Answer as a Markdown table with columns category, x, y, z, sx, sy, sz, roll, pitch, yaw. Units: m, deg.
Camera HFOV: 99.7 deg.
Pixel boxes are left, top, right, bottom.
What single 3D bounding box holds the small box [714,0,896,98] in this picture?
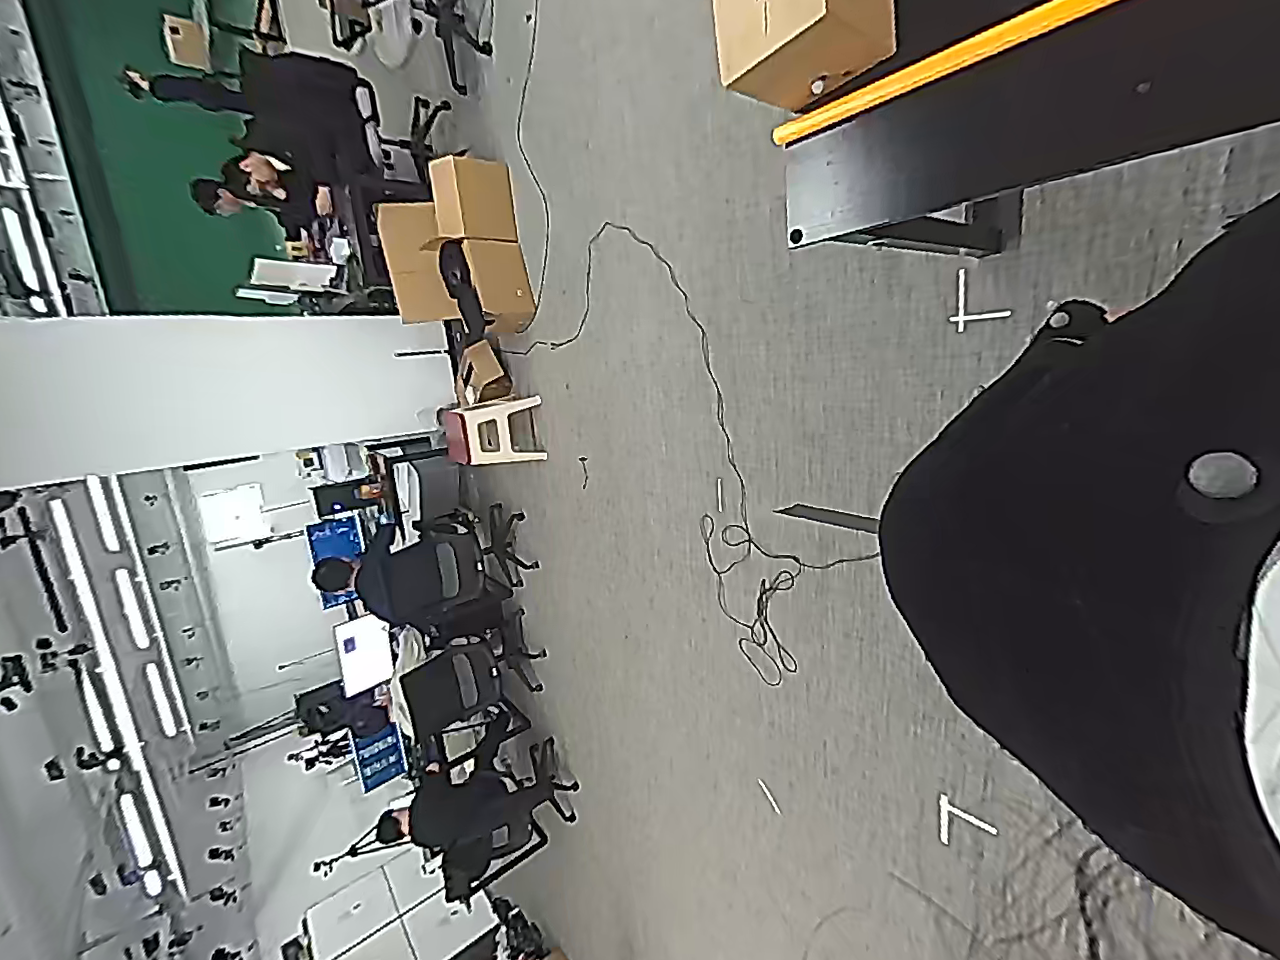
| category | x | y | z | sx | sy | sz | roll | pitch | yaw |
| --- | --- | --- | --- | --- | --- | --- | --- | --- | --- |
| small box | 0.214 | -0.646 | 0.708 | 0.168 | 0.176 | 0.179 | 5 | 106 | 52 |
